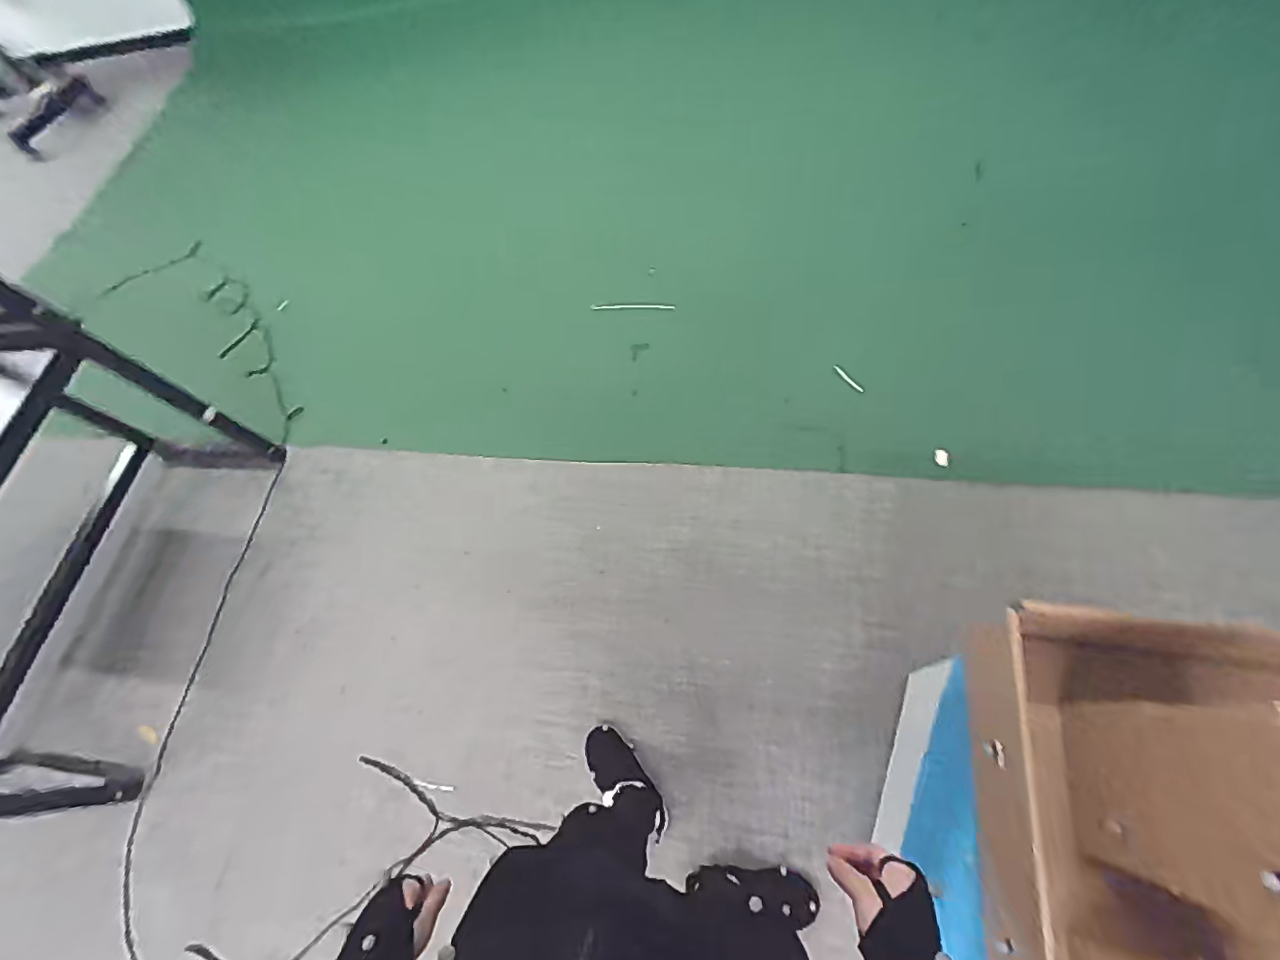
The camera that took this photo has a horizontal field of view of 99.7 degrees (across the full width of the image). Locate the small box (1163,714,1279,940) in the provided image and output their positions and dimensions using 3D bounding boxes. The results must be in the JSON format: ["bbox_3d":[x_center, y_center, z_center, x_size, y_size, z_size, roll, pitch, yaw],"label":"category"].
[{"bbox_3d":[0.601,0.302,0.456,0.168,0.176,0.179,5,69,12],"label":"small box"}]
